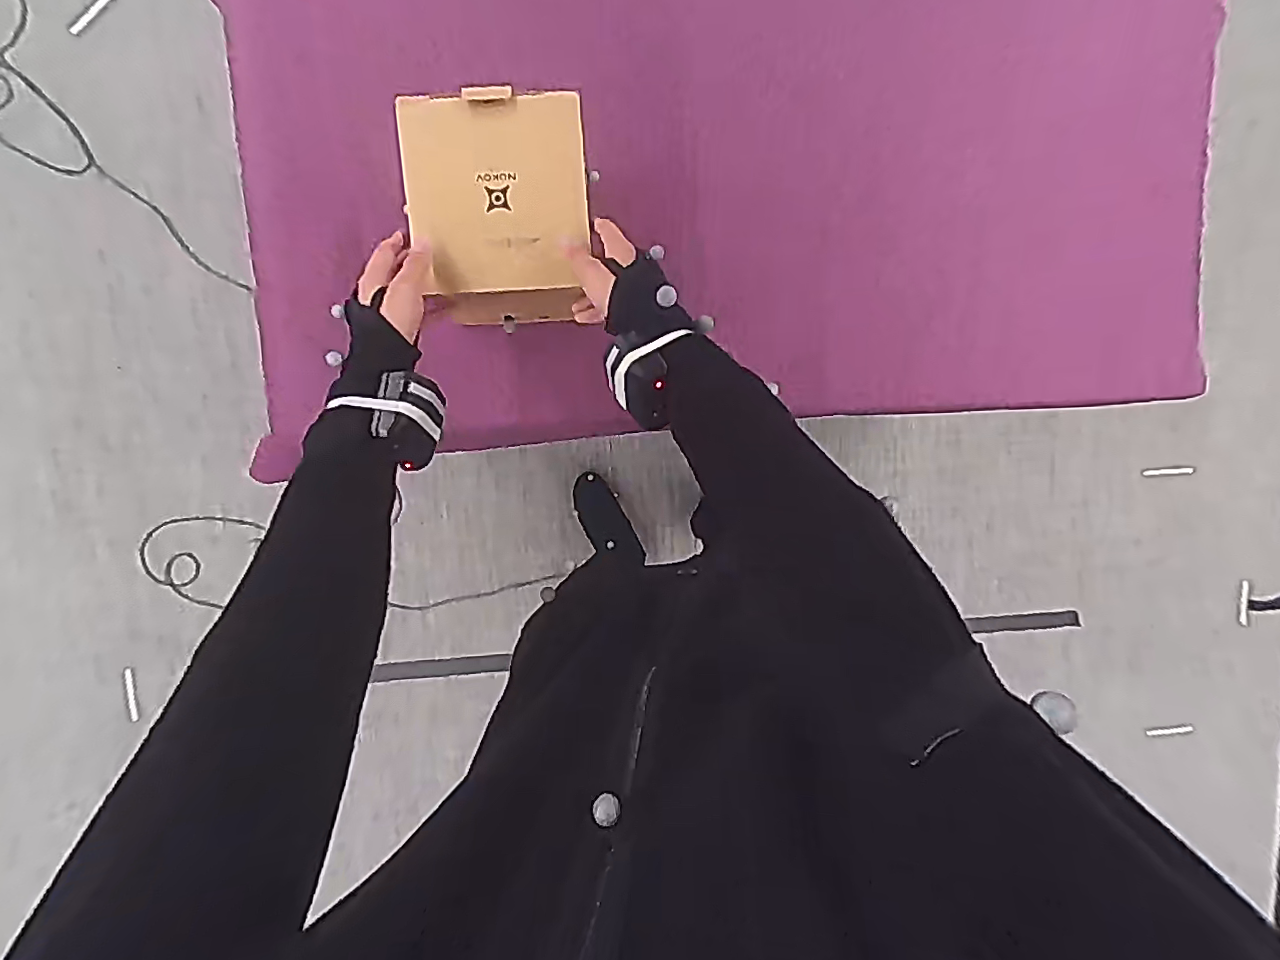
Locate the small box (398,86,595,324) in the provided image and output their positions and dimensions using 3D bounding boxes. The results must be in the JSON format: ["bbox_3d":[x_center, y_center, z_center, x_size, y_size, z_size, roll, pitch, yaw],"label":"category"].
[{"bbox_3d":[-0.135,-0.270,0.567,0.168,0.176,0.179,-4,96,-4],"label":"small box"}]
